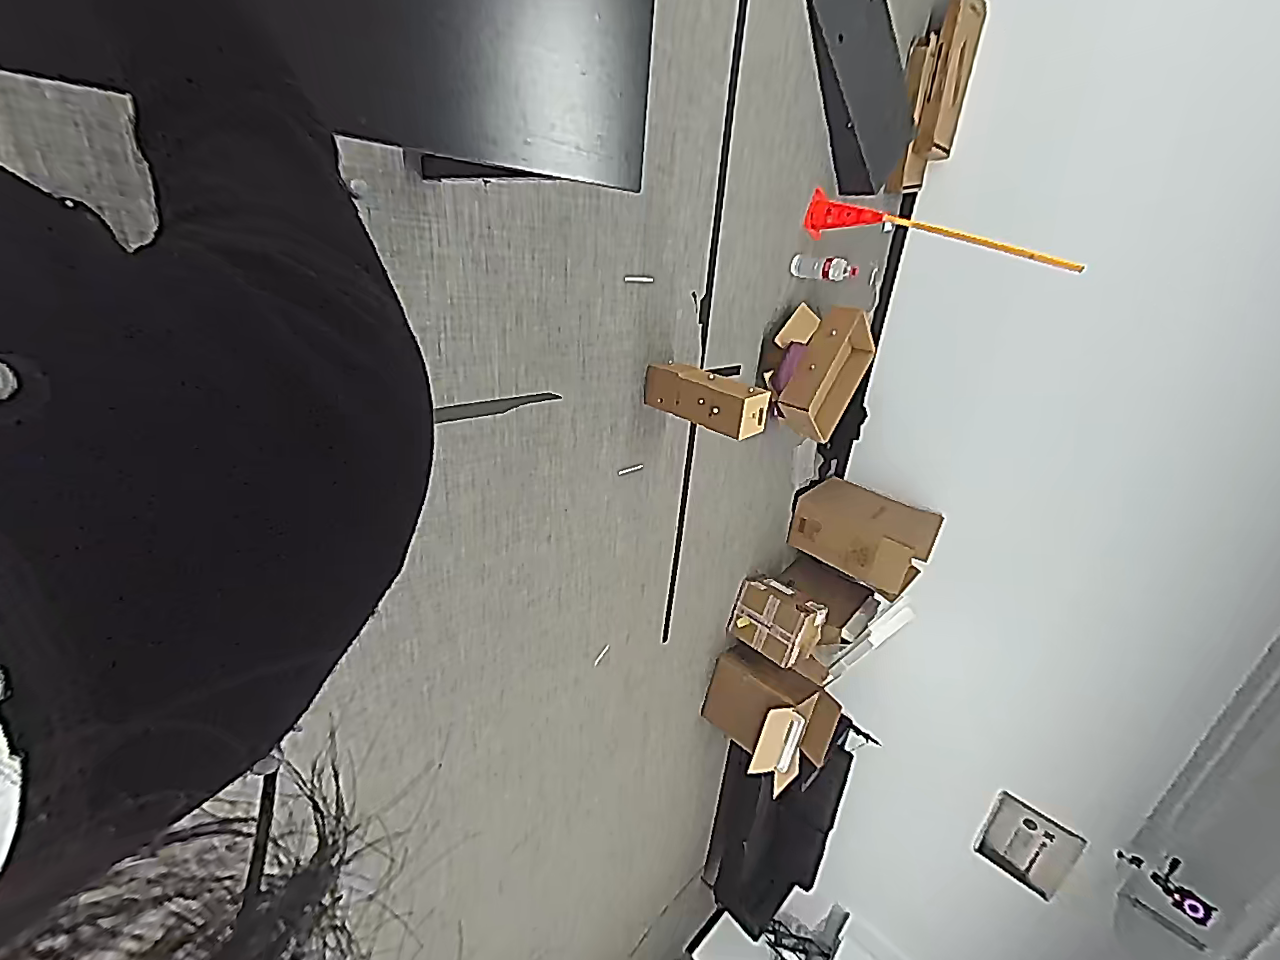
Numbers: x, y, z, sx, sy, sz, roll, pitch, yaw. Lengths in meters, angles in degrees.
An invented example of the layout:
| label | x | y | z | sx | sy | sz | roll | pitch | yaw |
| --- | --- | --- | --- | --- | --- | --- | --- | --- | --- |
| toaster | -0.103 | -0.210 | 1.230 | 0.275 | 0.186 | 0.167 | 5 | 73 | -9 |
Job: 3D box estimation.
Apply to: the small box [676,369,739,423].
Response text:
| label | x | y | z | sx | sy | sz | roll | pitch | yaw |
| --- | --- | --- | --- | --- | --- | --- | --- | --- | --- |
| small box | 0.271 | -0.344 | 2.174 | 0.179 | 0.176 | 0.168 | -22 | 126 | -42 |

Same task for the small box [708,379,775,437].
| label | x | y | z | sx | sy | sz | roll | pitch | yaw |
| --- | --- | --- | --- | --- | --- | --- | --- | --- | --- |
| small box | 0.388 | -0.282 | 2.075 | 0.179 | 0.176 | 0.168 | -21 | 125 | -41 |

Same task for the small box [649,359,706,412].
| label | x | y | z | sx | sy | sz | roll | pitch | yaw |
| --- | --- | --- | --- | --- | --- | --- | --- | --- | --- |
| small box | 0.155 | -0.402 | 2.274 | 0.168 | 0.176 | 0.179 | -20 | 123 | -43 |
